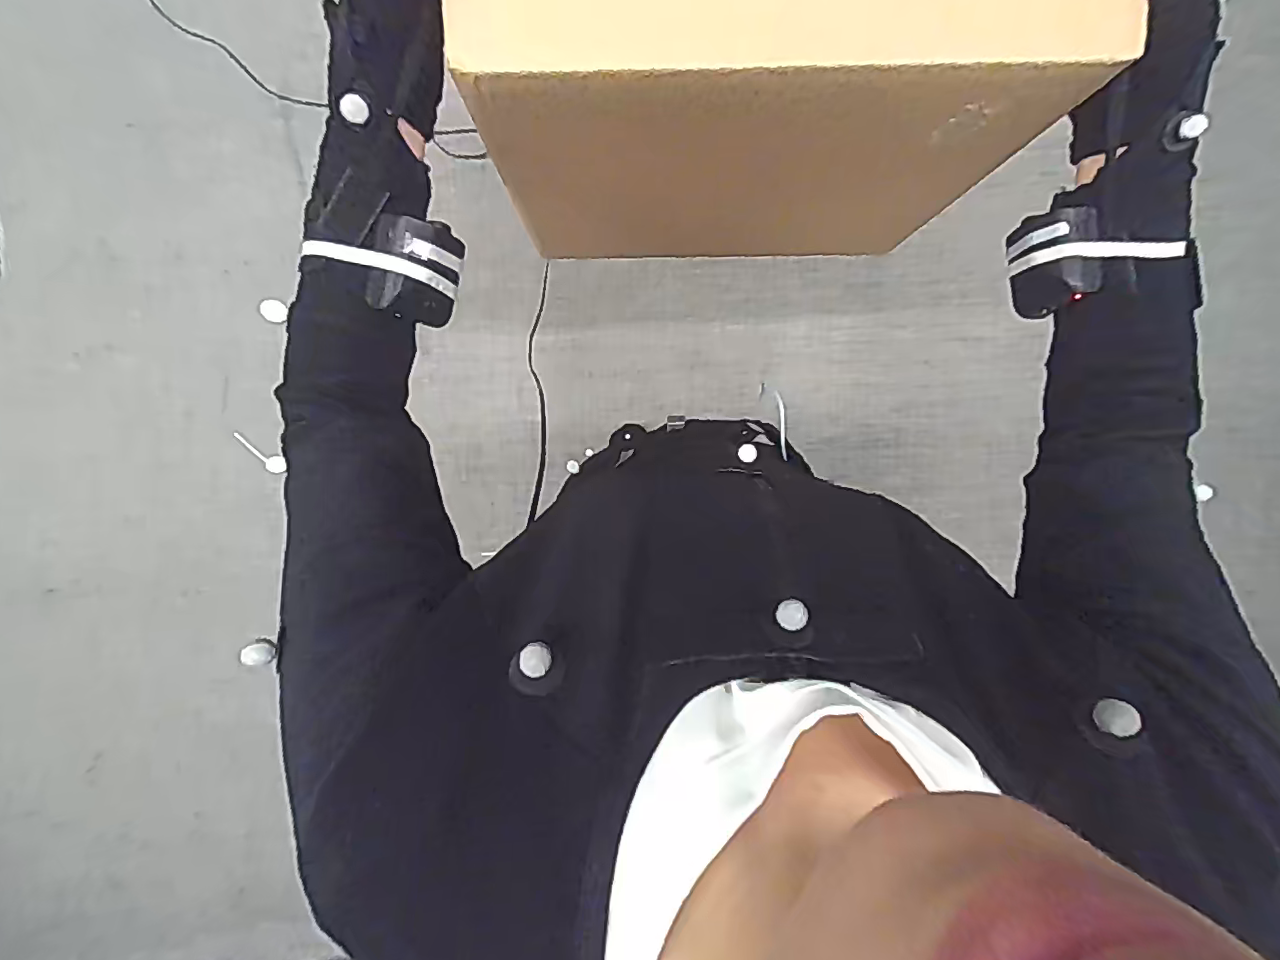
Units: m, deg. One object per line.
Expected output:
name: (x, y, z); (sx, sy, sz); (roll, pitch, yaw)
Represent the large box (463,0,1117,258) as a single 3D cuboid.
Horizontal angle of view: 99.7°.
large box: (0.082, -0.406, 0.468); (0.408, 0.320, 0.320); (-2, 94, -2)
